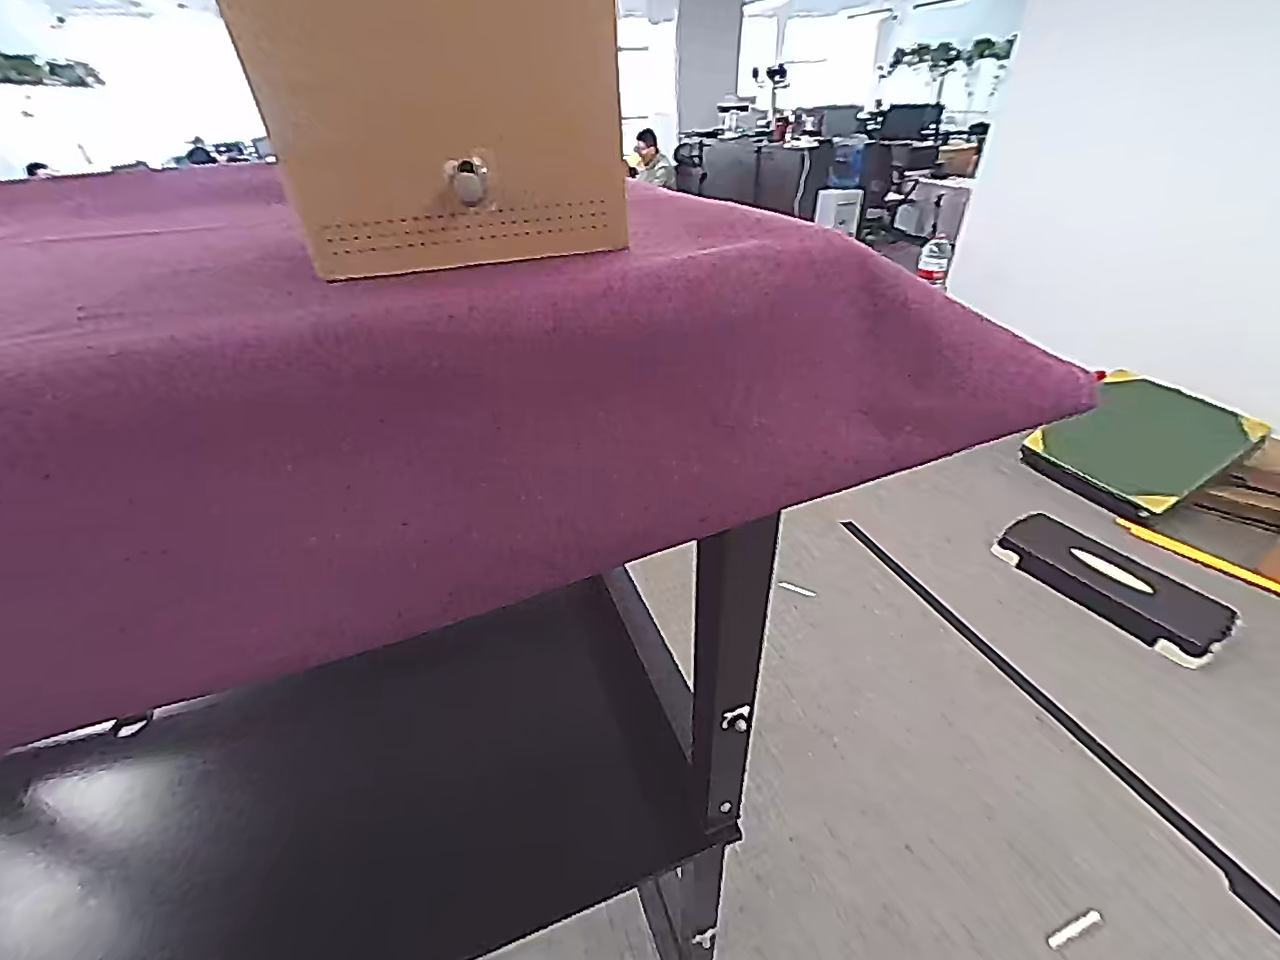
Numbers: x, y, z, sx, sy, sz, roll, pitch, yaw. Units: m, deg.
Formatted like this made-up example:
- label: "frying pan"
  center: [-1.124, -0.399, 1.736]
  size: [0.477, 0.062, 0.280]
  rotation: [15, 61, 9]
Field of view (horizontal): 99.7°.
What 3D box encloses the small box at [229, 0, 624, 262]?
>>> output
- label: "small box"
  center: [-0.109, -0.239, 0.321]
  size: [0.179, 0.176, 0.168]
  rotation: [-11, 35, -11]
